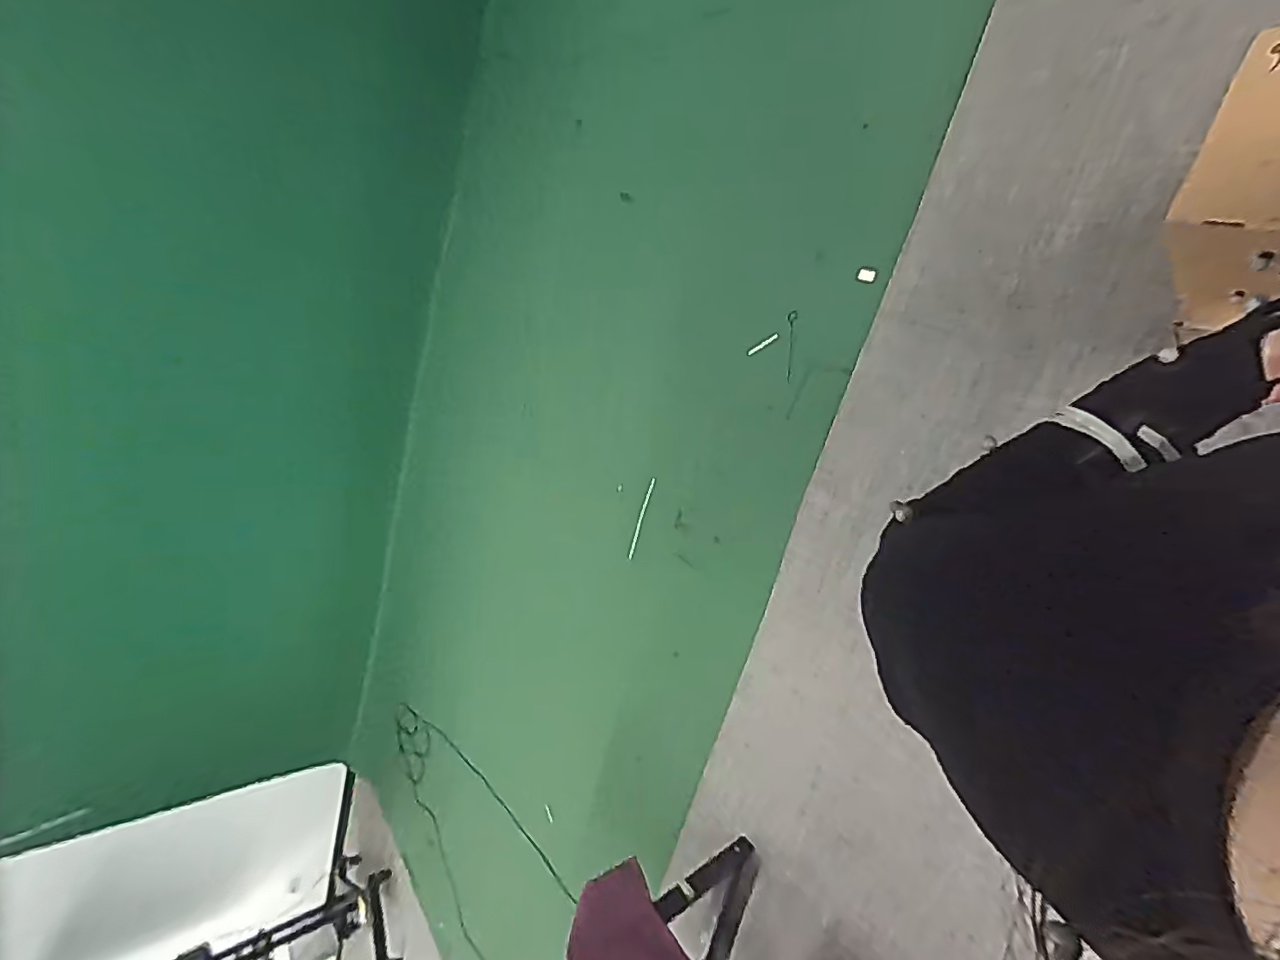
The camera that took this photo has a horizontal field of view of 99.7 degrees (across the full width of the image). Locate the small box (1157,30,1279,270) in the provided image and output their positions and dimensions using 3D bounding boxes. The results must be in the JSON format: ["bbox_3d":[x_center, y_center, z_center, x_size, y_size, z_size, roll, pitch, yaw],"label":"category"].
[{"bbox_3d":[0.674,-0.317,0.542,0.168,0.176,0.179,31,113,41],"label":"small box"}]

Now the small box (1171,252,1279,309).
[{"bbox_3d":[0.793,-0.320,0.656,0.168,0.176,0.179,30,111,42],"label":"small box"}]
